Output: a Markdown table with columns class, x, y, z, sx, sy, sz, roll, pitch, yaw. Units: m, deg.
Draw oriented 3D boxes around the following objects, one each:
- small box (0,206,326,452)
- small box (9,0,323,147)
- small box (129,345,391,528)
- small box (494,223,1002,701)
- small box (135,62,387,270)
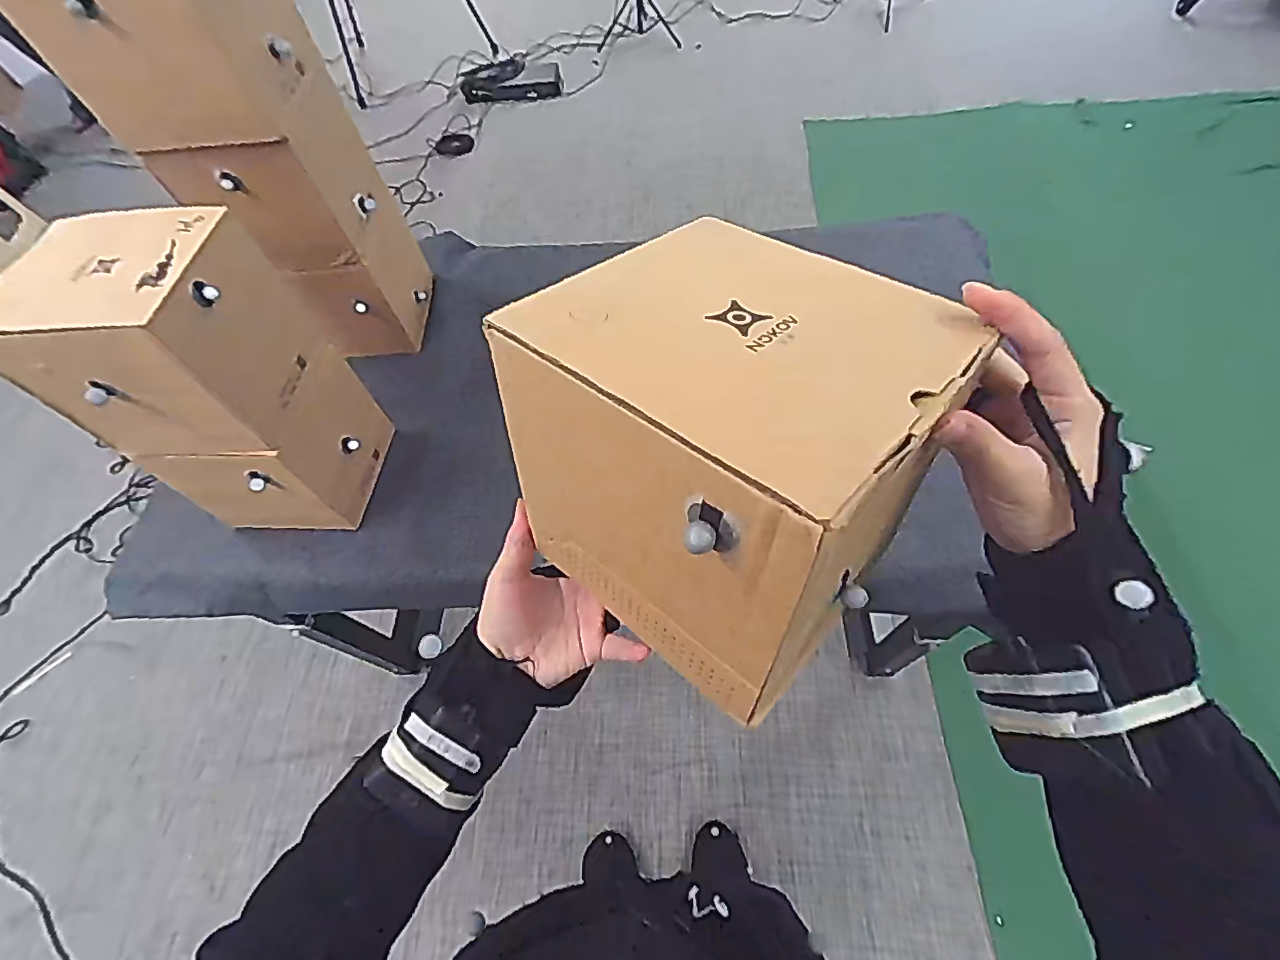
| class | x | y | z | sx | sy | sz | roll | pitch | yaw |
| --- | --- | --- | --- | --- | --- | --- | --- | --- | --- |
| small box | -0.460 | -0.139 | 0.536 | 0.179 | 0.176 | 0.168 | -3 | 58 | 4 |
| small box | -0.463 | -0.459 | 0.537 | 0.179 | 0.176 | 0.168 | -2 | 62 | 3 |
| small box | -0.445 | -0.050 | 0.672 | 0.179 | 0.176 | 0.168 | 1 | 57 | 5 |
| small box | 0.047 | -0.015 | 0.302 | 0.179 | 0.176 | 0.168 | 34 | 54 | 27 |
| small box | -0.455 | -0.387 | 0.684 | 0.179 | 0.176 | 0.168 | -4 | 62 | 1 |
